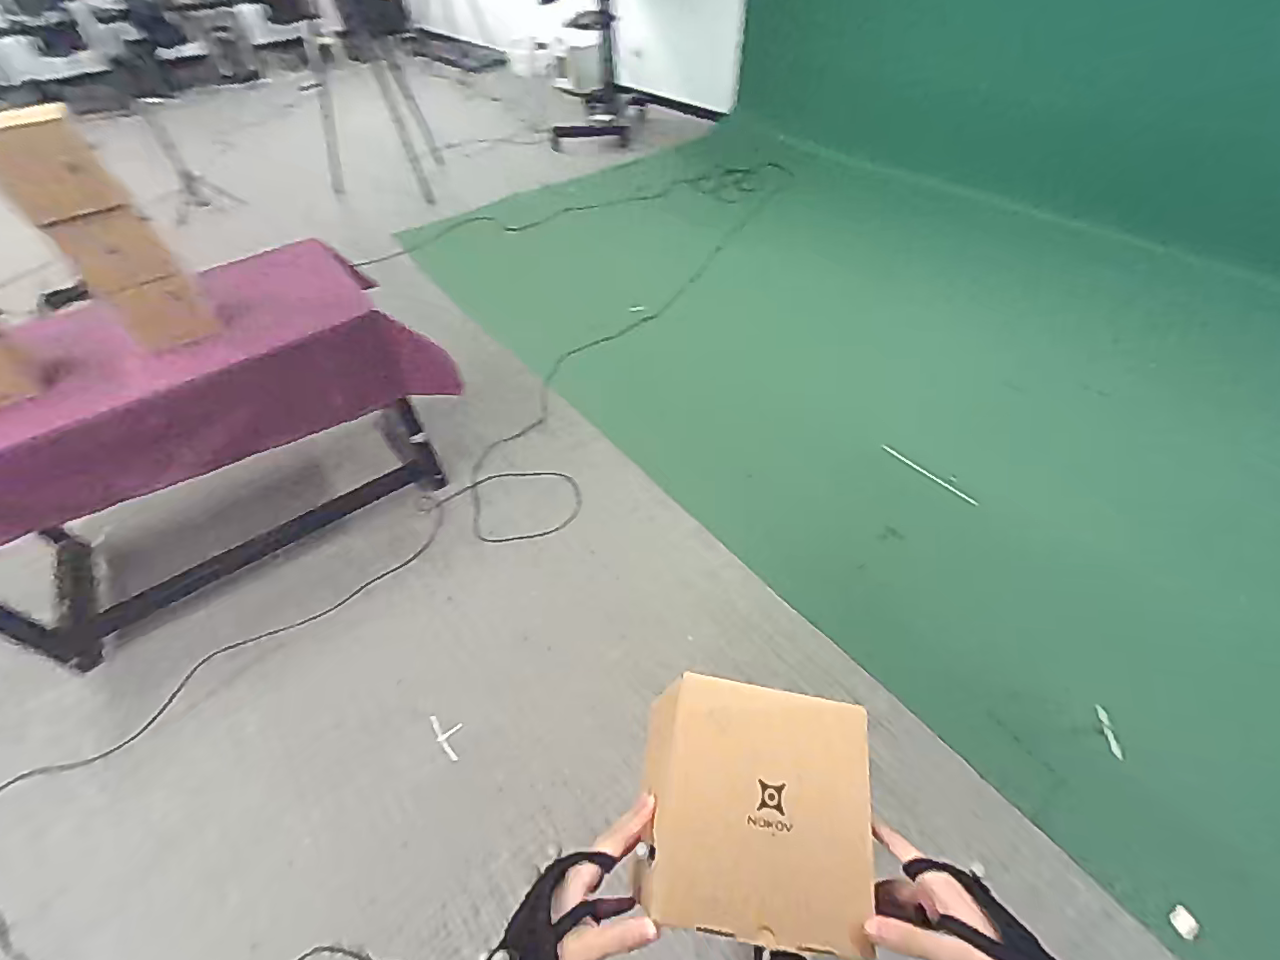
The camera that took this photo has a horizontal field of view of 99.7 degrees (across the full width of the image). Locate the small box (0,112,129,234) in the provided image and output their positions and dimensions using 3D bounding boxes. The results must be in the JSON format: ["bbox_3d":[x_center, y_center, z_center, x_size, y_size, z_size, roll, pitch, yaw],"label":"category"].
[{"bbox_3d":[-1.239,-0.653,1.149,0.179,0.176,0.168,-30,52,-21],"label":"small box"}]

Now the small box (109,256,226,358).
[{"bbox_3d":[-1.218,-0.448,1.405,0.179,0.176,0.168,-30,52,-21],"label":"small box"}]

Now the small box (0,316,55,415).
[{"bbox_3d":[-1.532,-0.260,1.262,0.168,0.176,0.179,-31,53,-22],"label":"small box"}]
